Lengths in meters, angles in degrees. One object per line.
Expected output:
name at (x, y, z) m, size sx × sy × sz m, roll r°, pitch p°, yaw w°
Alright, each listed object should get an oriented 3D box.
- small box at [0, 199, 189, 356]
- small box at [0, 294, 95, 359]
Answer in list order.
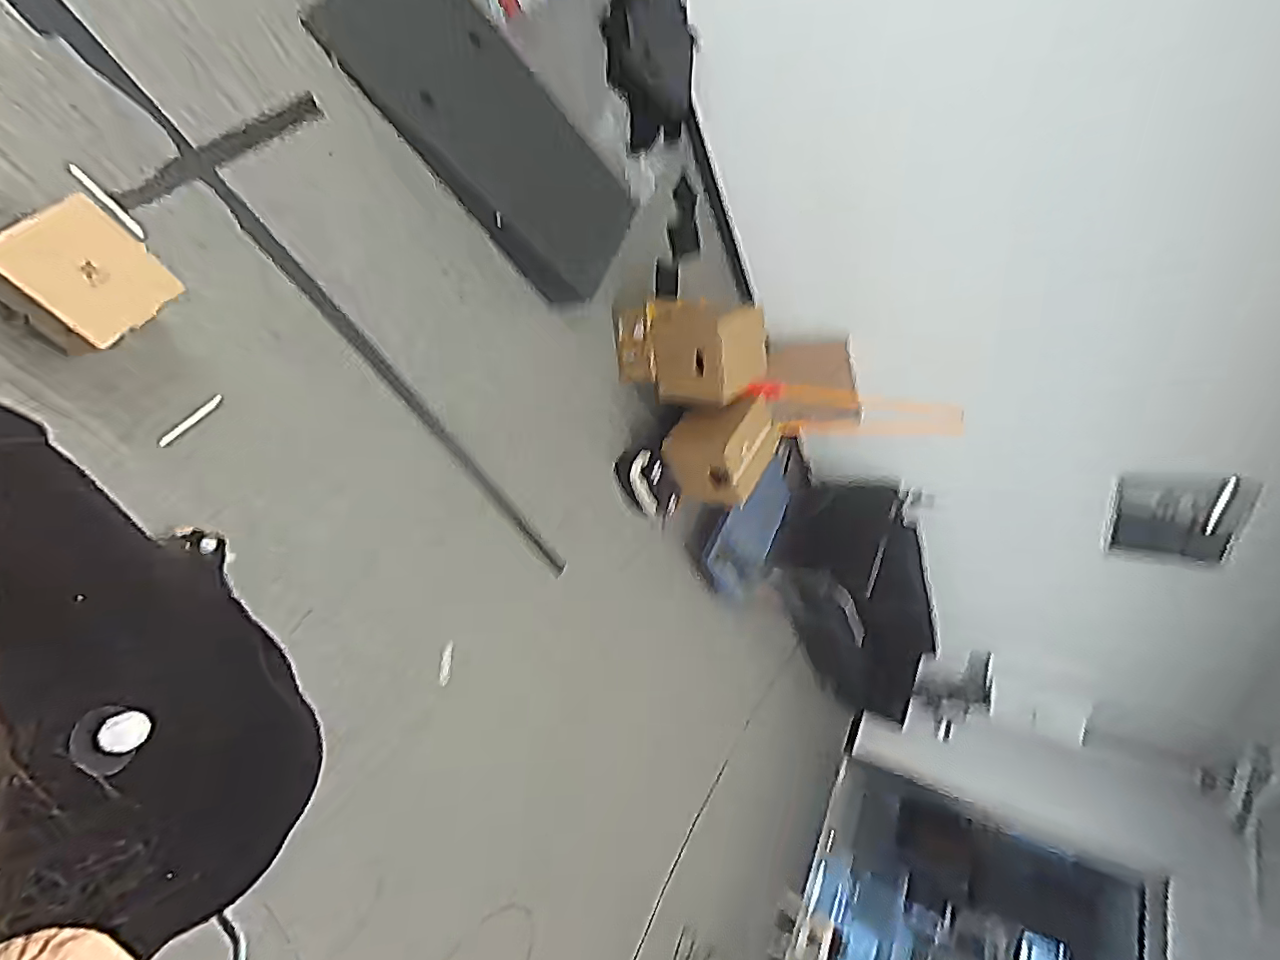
small box at (-0.907, -0.321, 0.885) m, size 0.168 × 0.176 × 0.179 m, roll -59°, pitch 136°, yaw -28°
small box at (-1.034, -0.340, 0.986) m, size 0.168 × 0.176 × 0.179 m, roll -57°, pitch 137°, yaw -29°
